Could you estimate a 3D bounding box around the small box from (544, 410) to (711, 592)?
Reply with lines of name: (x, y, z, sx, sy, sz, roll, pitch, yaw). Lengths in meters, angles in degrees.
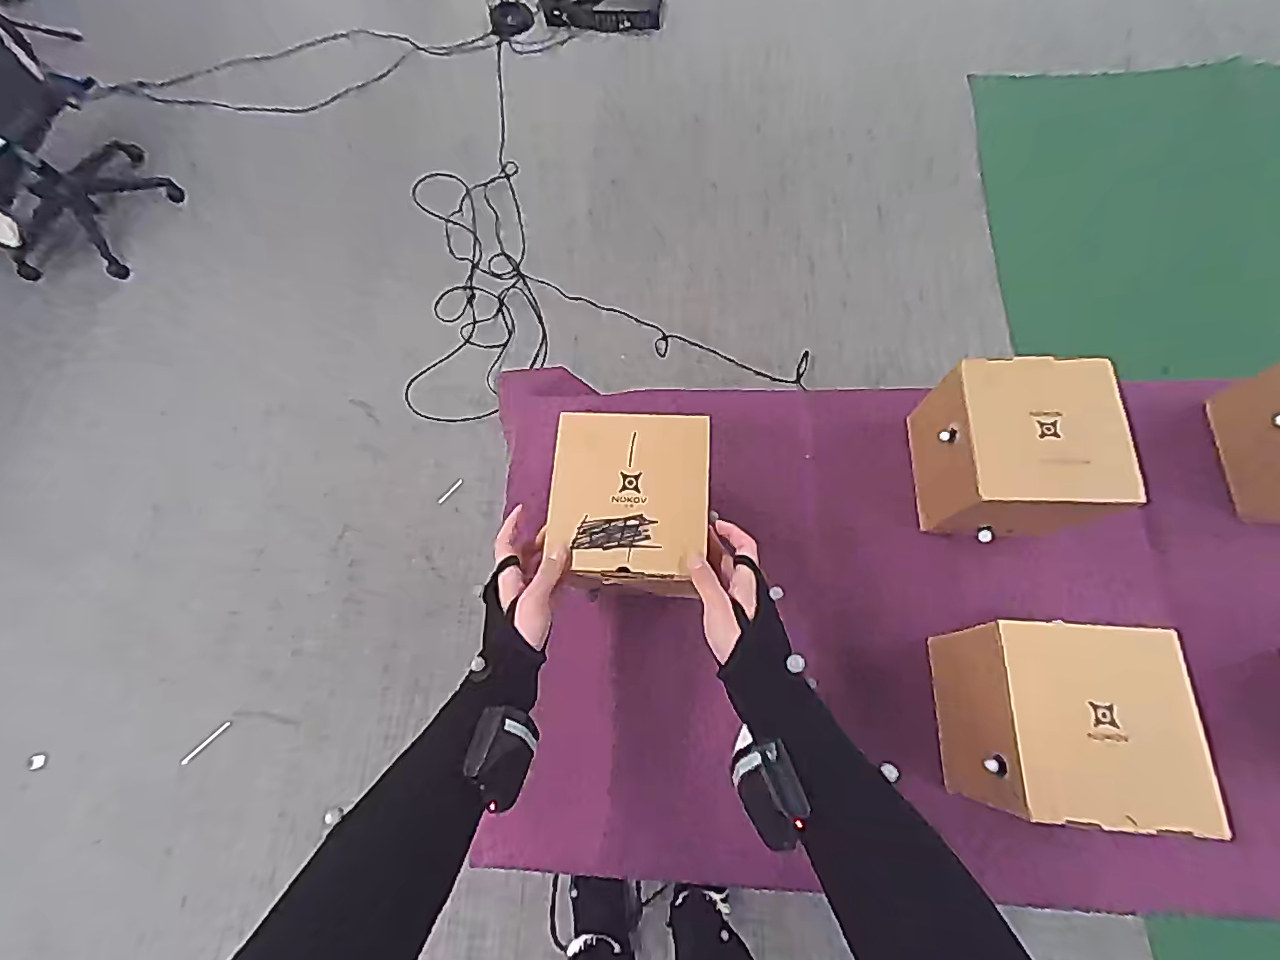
small box: (-0.004, 0.033, 0.636, 0.168, 0.176, 0.179, 3, 71, 5)

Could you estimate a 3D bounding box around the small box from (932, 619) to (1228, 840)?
small box: (0.432, 0.252, 0.572, 0.168, 0.176, 0.179, 2, 69, 5)

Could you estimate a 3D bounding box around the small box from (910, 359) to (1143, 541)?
small box: (0.455, -0.031, 0.673, 0.168, 0.176, 0.179, 2, 72, 6)

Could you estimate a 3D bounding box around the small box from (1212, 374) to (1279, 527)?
small box: (0.852, -0.047, 0.640, 0.168, 0.176, 0.179, 1, 72, 7)
